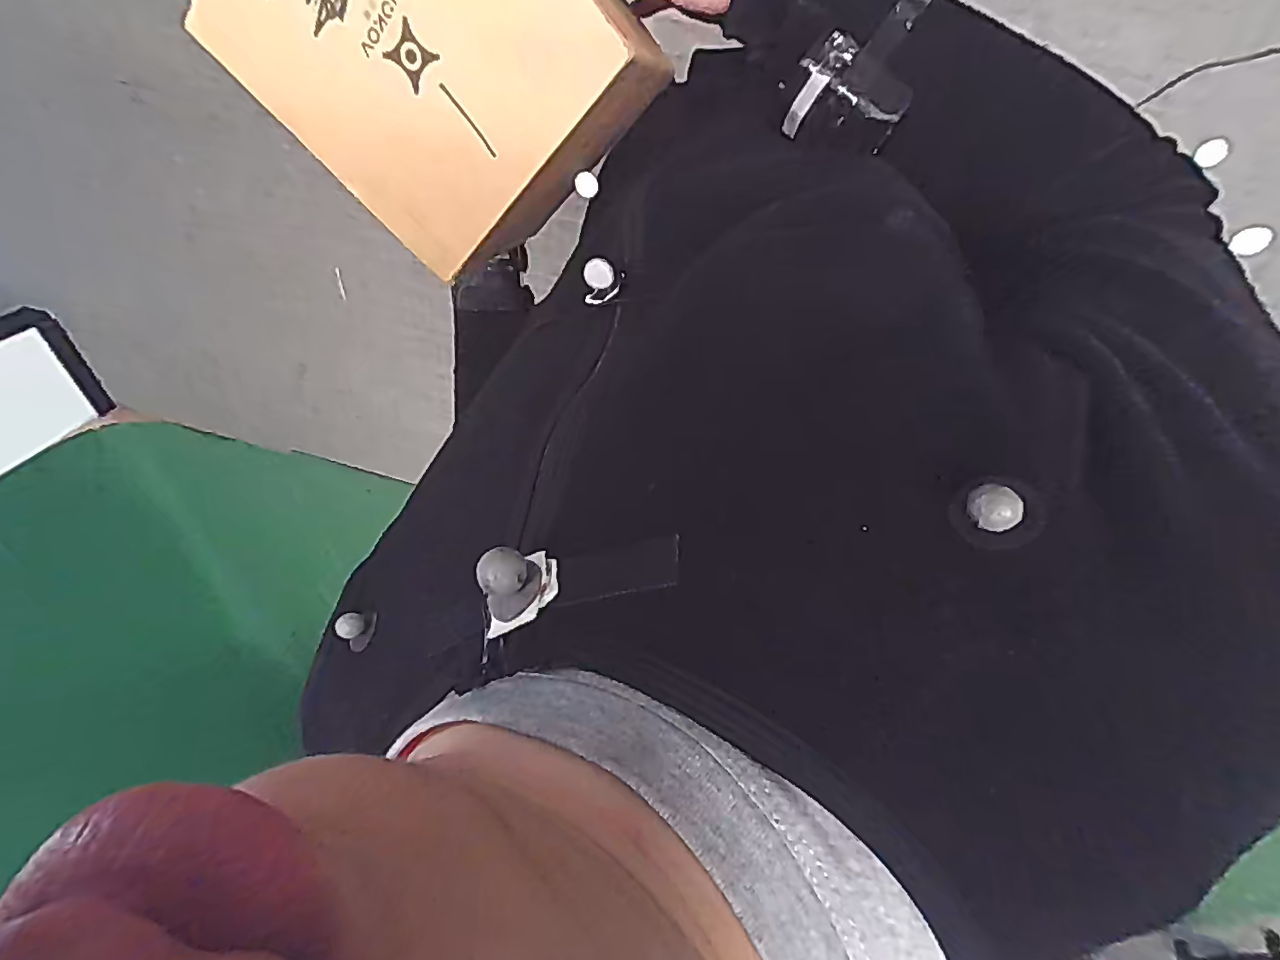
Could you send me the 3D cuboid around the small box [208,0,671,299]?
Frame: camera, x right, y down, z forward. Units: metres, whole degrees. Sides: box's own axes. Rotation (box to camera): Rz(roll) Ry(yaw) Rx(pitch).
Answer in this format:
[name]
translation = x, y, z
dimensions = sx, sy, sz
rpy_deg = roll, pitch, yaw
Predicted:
[small box]
translation = -0.101, -0.252, 0.340
dimensions = 0.168, 0.176, 0.179
rpy_deg = -35, 111, 30
